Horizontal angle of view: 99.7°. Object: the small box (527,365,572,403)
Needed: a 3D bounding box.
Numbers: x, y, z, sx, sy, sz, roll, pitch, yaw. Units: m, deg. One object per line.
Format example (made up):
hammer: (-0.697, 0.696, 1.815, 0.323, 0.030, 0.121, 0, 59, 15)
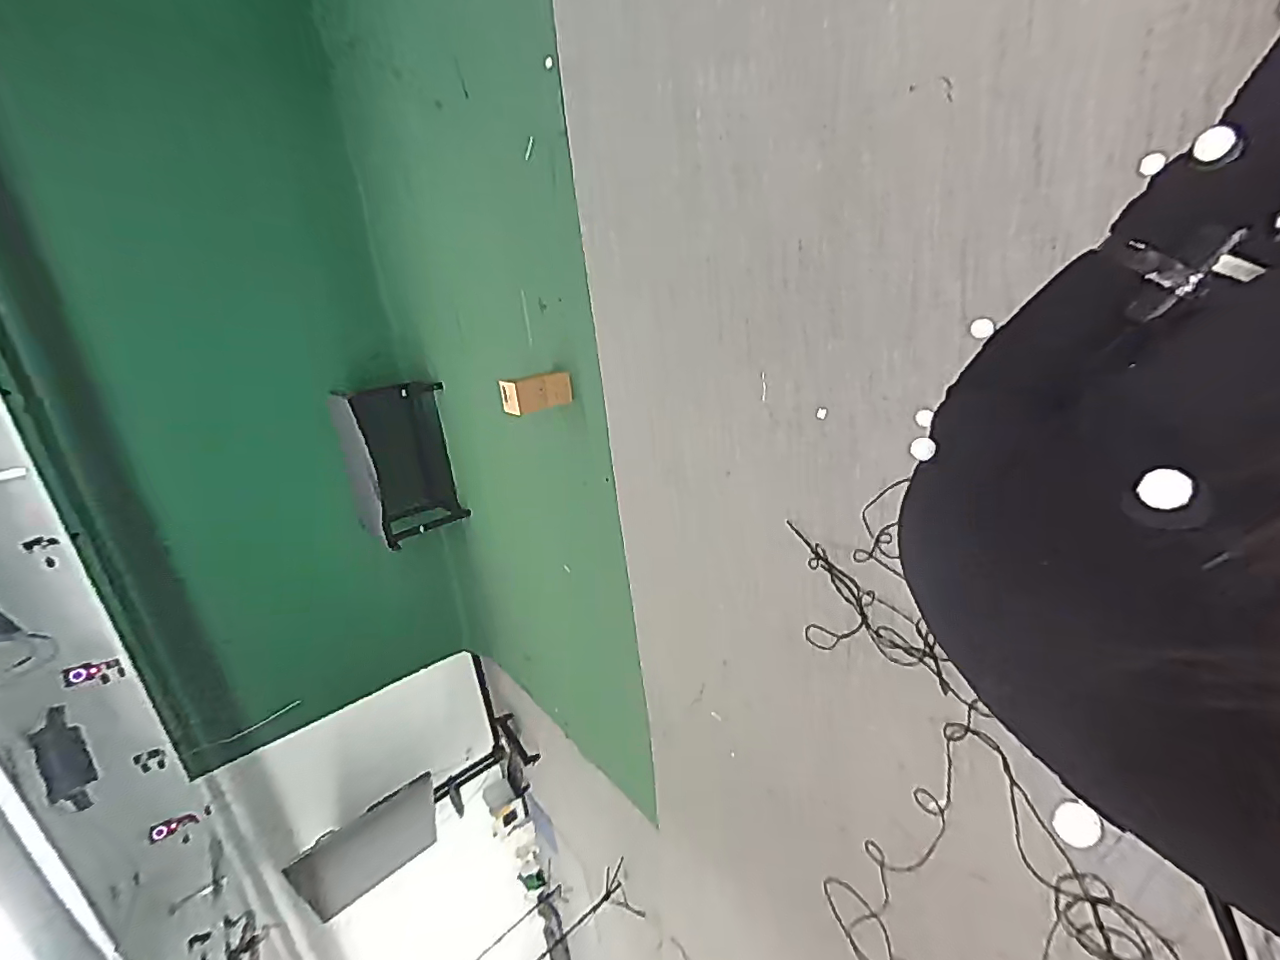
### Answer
small box: (-0.479, -0.520, 2.910, 0.179, 0.176, 0.168, 18, 122, 49)
